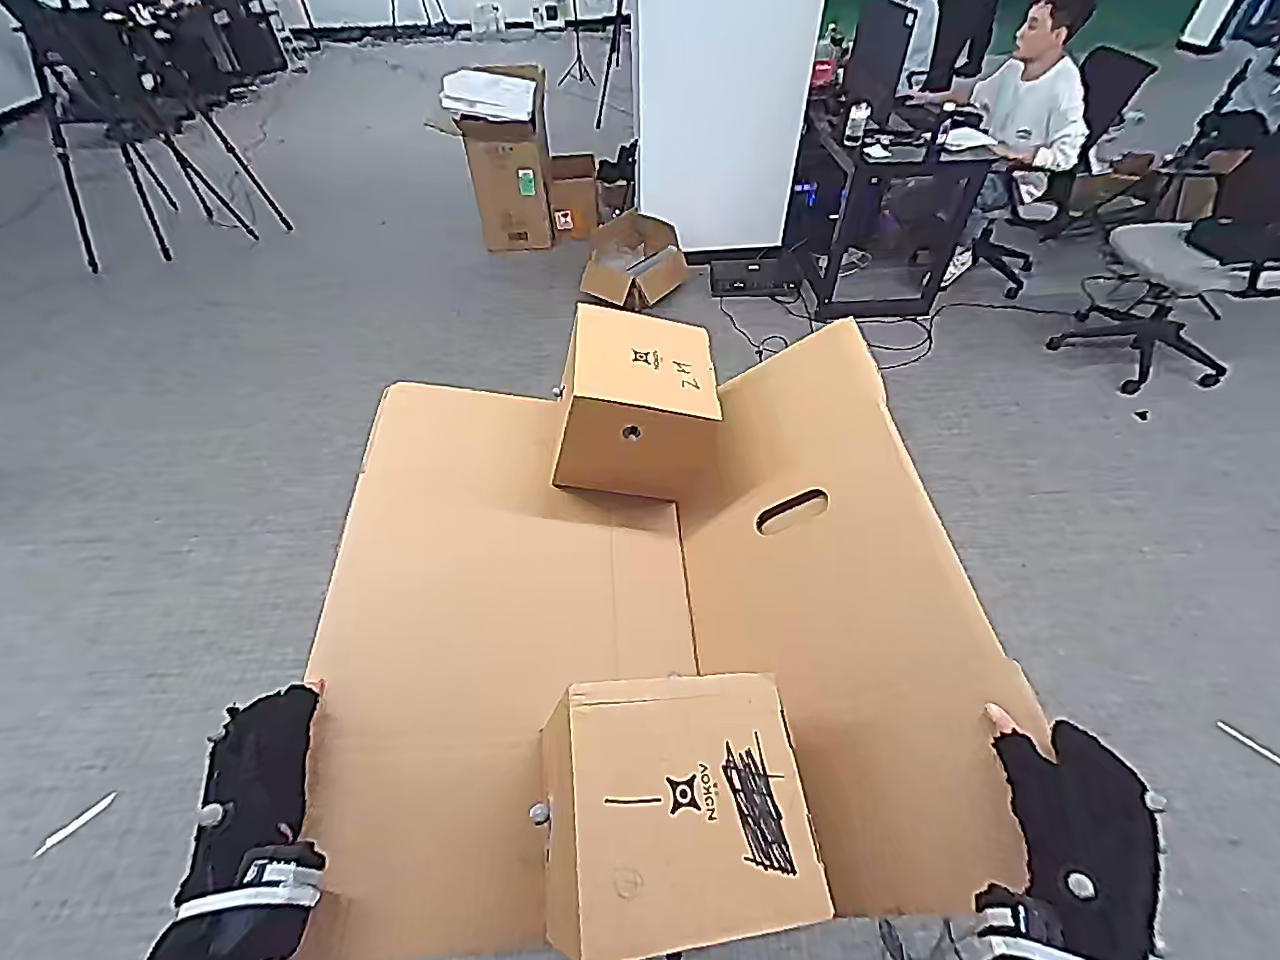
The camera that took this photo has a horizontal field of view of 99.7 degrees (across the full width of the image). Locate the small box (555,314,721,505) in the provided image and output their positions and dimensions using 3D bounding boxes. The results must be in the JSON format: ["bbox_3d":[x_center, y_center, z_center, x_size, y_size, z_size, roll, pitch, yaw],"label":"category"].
[{"bbox_3d":[-0.011,-0.084,0.710,0.179,0.176,0.168,9,52,-13],"label":"small box"}]

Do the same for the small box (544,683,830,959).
[{"bbox_3d":[0.019,0.277,0.449,0.179,0.176,0.168,3,54,-16],"label":"small box"}]
